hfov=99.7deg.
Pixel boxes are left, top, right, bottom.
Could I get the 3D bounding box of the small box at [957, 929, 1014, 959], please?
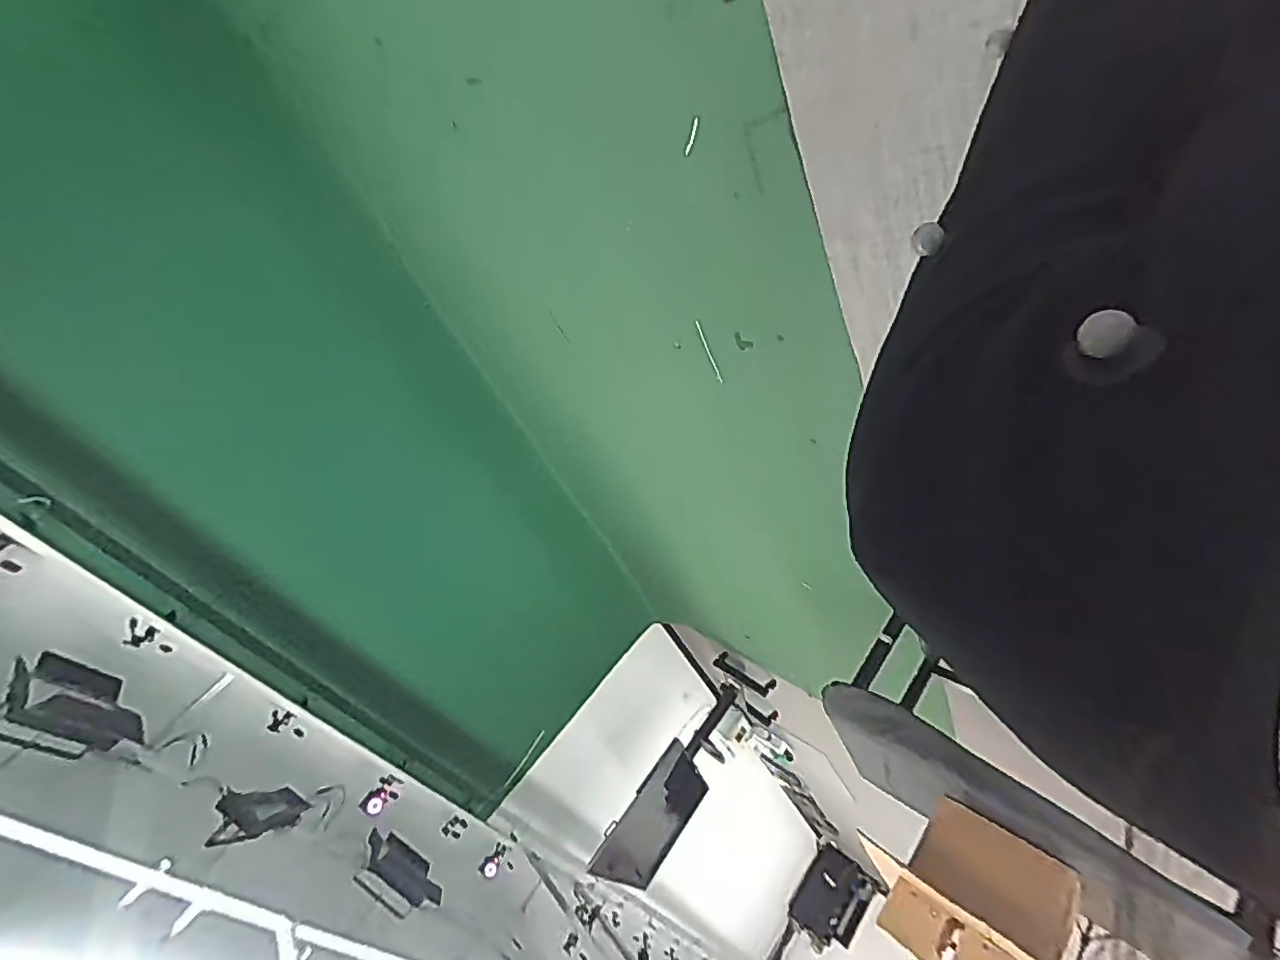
[{"bbox_3d":[1.039,1.486,1.592,0.168,0.176,0.179,14,143,49],"label":"small box"}]
